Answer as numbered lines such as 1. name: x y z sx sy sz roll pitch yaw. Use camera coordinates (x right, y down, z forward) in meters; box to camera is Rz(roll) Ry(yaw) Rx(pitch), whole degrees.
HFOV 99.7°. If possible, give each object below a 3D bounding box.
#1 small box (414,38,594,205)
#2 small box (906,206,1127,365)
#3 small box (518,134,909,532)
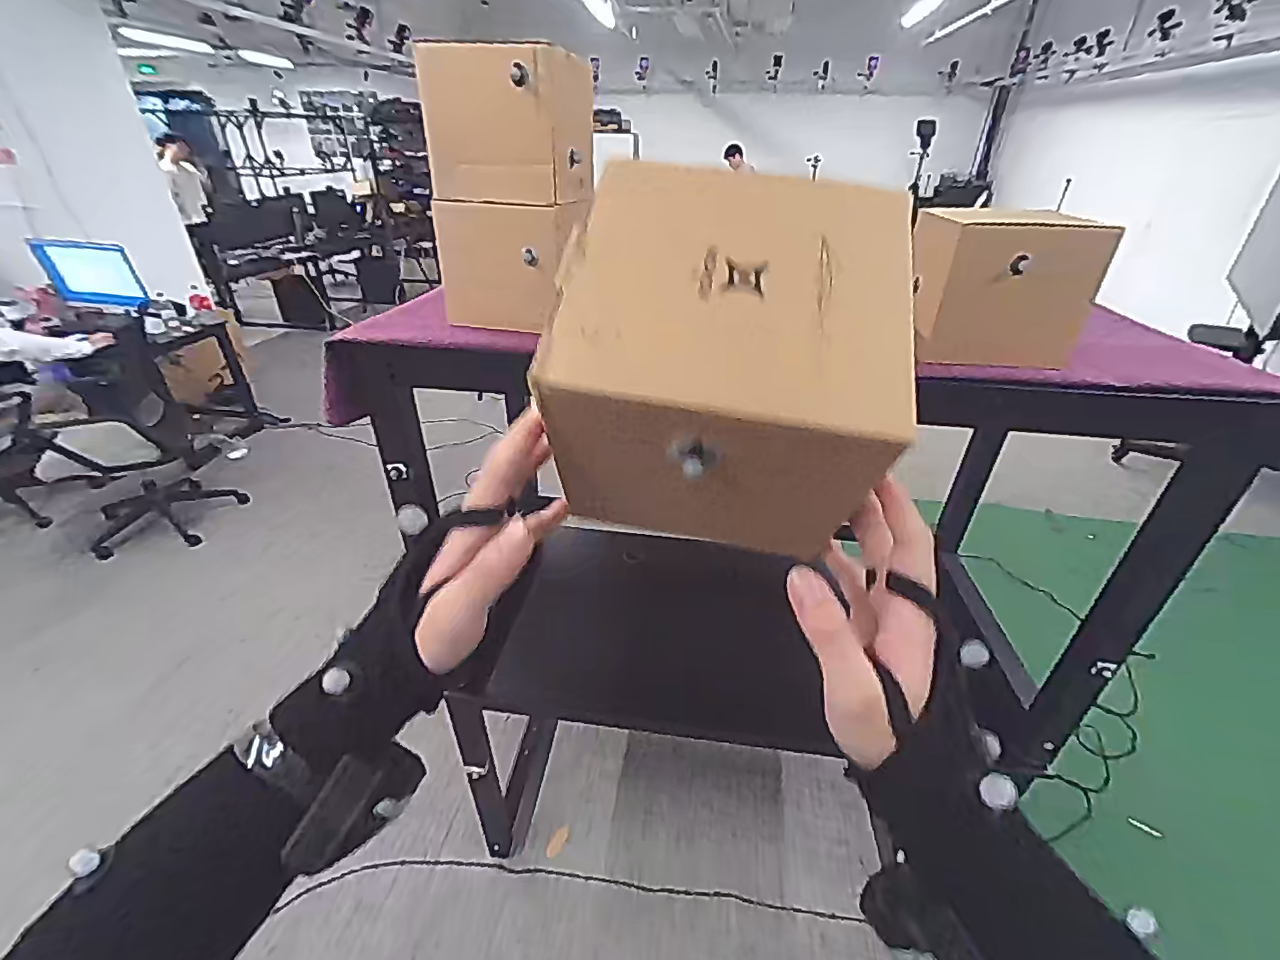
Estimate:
1. small box: -0.168 -0.467 0.725 0.179 0.176 0.168 9 31 10
2. small box: 0.457 -0.256 0.704 0.179 0.176 0.168 5 32 7
3. small box: 0.047 -0.080 0.342 0.179 0.176 0.168 11 65 7
